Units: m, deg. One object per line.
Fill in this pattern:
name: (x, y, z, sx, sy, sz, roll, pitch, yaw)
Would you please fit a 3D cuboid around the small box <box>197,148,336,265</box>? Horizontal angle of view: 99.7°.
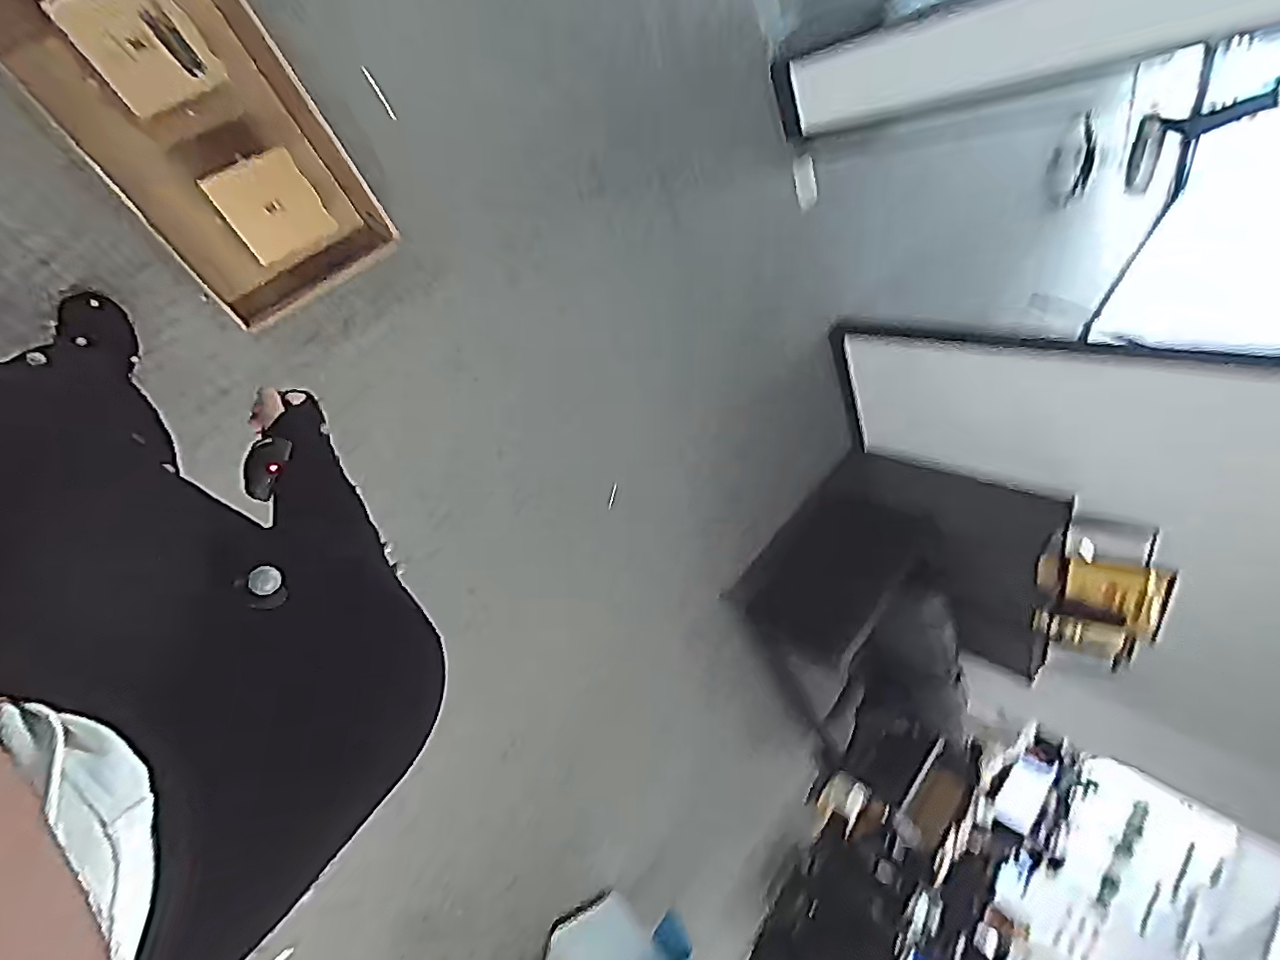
small box: (-0.791, -0.572, 1.149, 0.179, 0.176, 0.168, -42, 129, -21)
